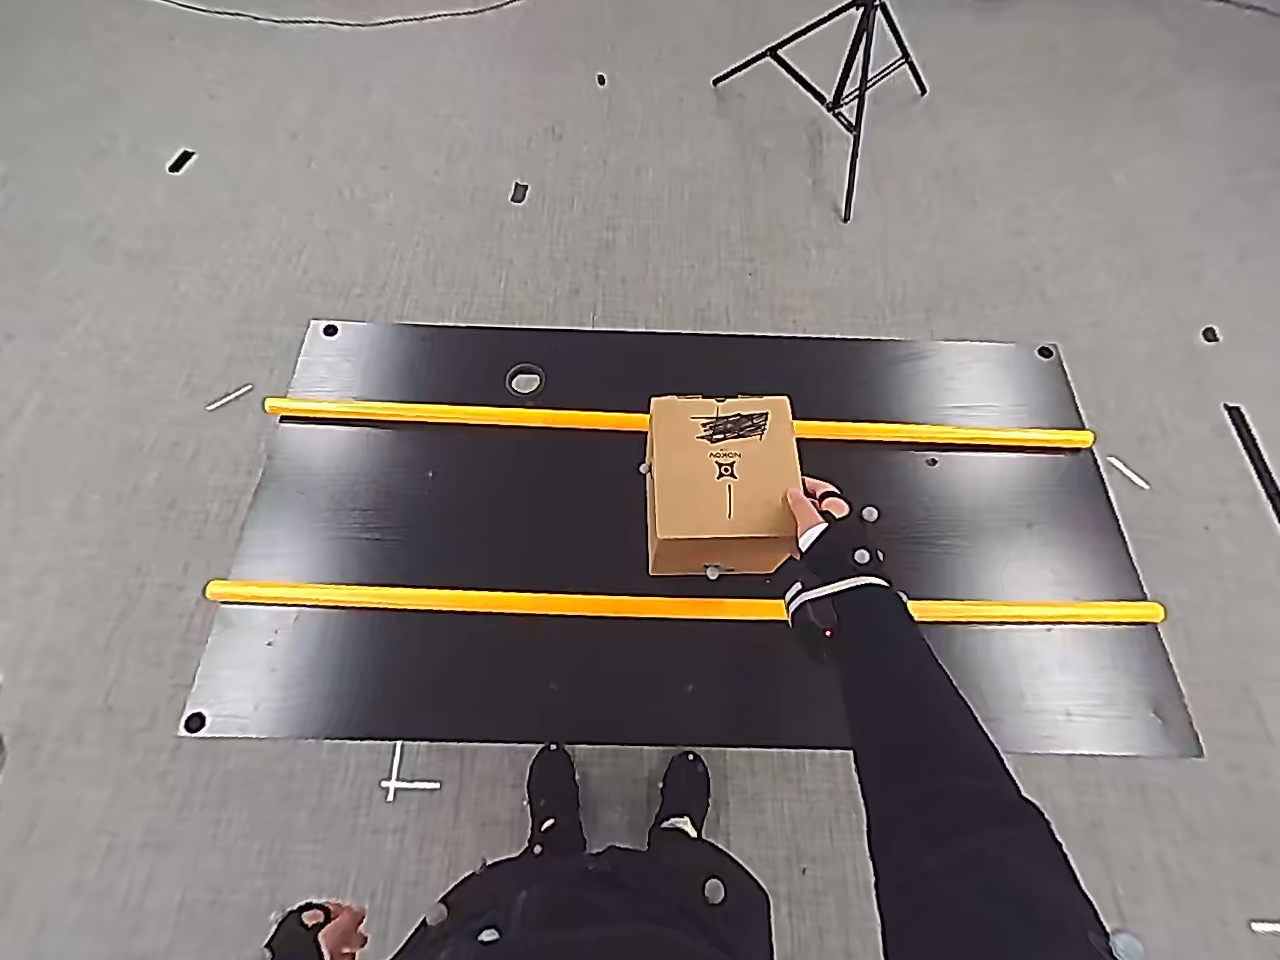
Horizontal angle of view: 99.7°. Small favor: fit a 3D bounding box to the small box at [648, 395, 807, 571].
[{"bbox_3d":[0.096,0.010,0.687,0.168,0.176,0.179,-1,67,-1],"label":"small box"}]
